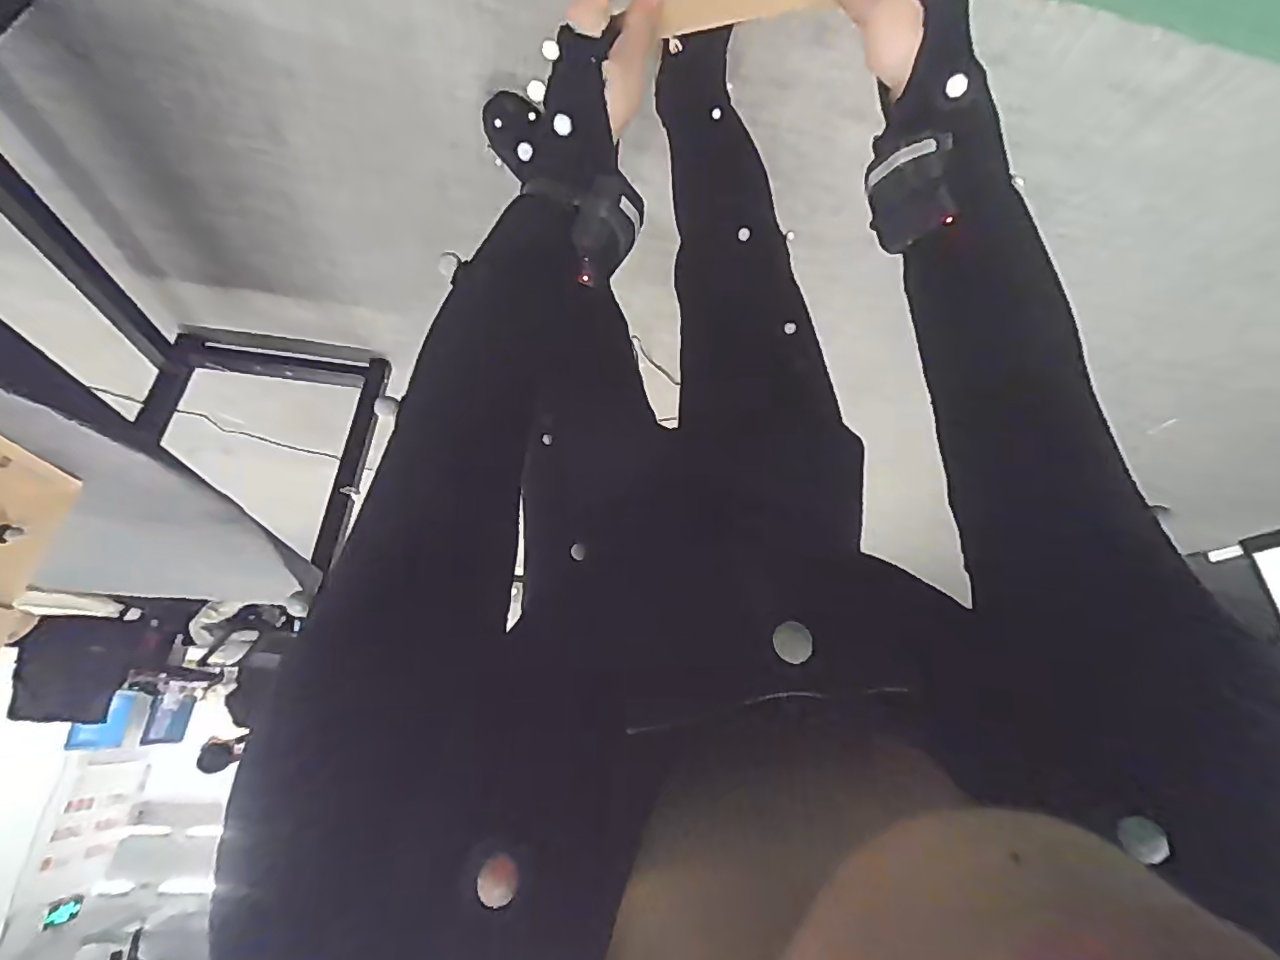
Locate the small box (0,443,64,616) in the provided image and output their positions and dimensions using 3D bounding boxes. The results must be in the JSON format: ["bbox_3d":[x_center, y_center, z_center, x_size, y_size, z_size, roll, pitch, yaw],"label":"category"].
[{"bbox_3d":[-0.772,0.037,0.562,0.179,0.176,0.168,8,154,-9],"label":"small box"}]

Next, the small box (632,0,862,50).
[{"bbox_3d":[0.070,-0.458,0.381,0.179,0.176,0.168,-4,155,10],"label":"small box"}]
